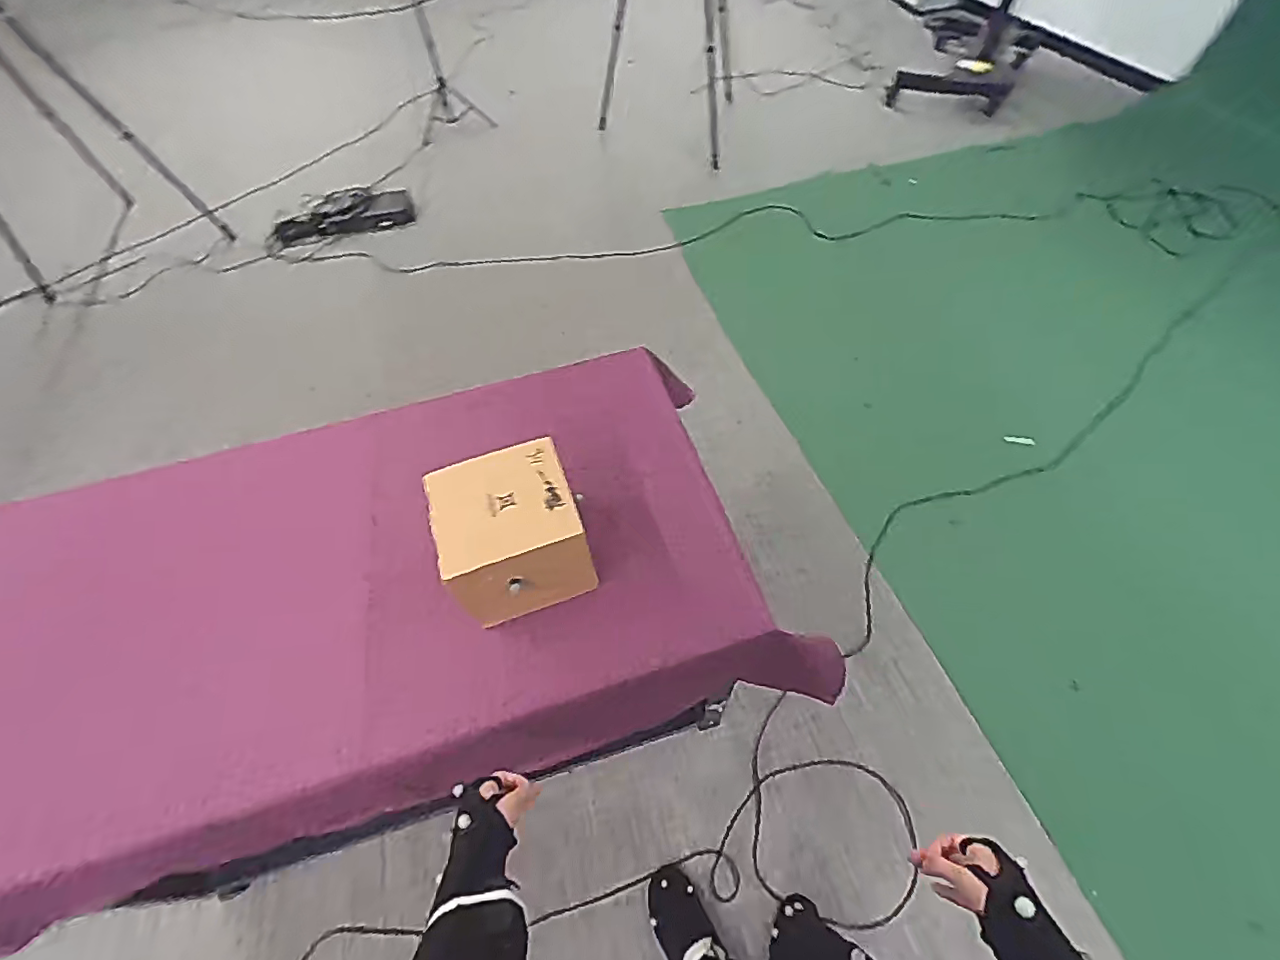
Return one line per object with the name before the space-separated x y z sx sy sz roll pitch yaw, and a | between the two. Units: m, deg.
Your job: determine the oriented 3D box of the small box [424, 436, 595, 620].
small box | -0.176 0.072 0.755 0.179 0.176 0.168 -19 56 -9
